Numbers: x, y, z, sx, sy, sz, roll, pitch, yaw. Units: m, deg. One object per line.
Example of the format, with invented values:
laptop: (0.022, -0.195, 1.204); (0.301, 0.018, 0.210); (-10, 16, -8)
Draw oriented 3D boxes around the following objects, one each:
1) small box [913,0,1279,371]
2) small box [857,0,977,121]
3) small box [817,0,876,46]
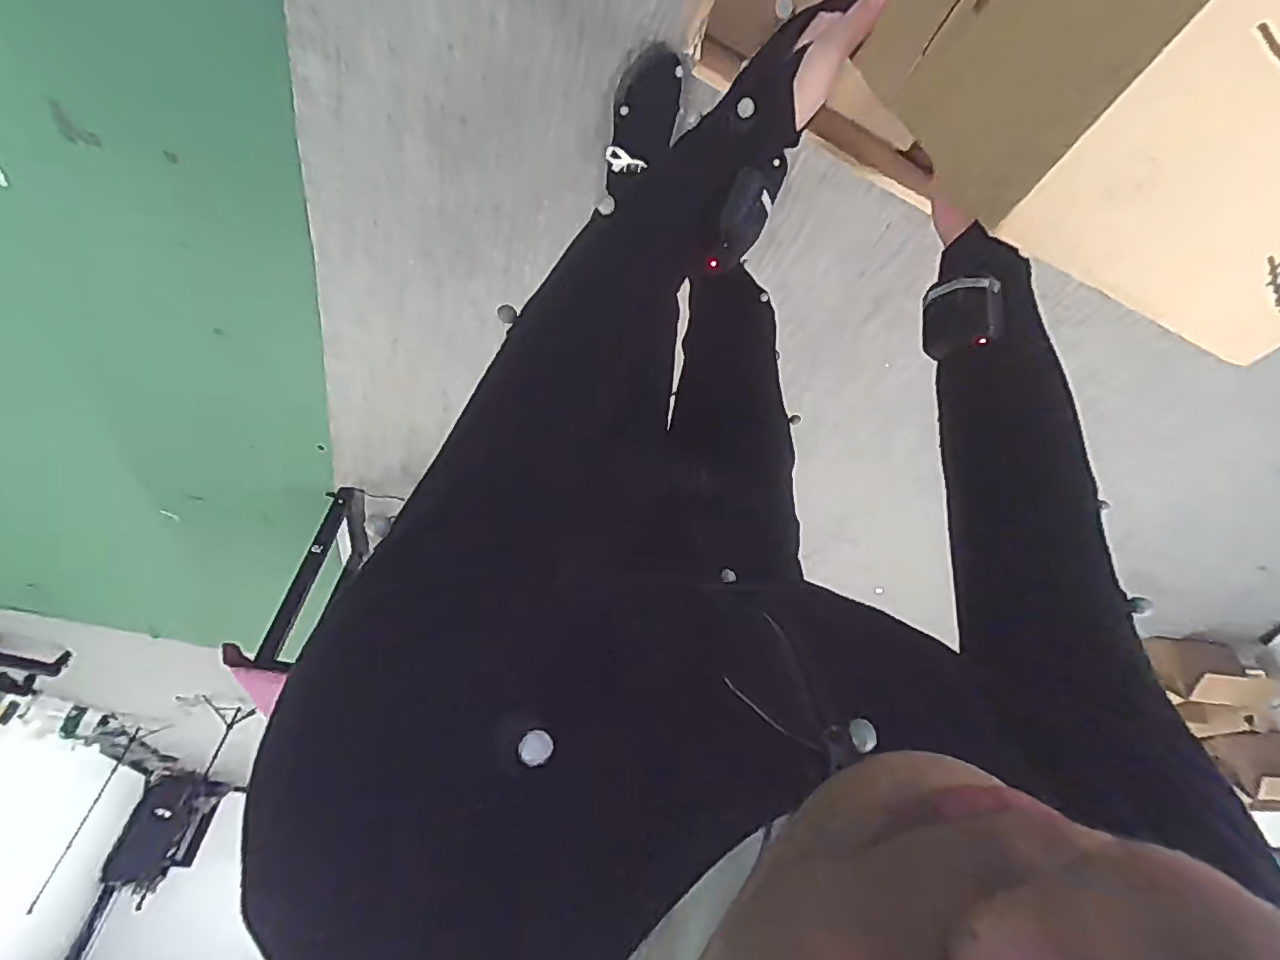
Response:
small box: (0.268, -0.187, 0.248); (0.179, 0.176, 0.168); (18, 138, -16)
small box: (0.273, -0.312, 0.355); (0.179, 0.176, 0.168); (19, 139, -16)
small box: (0.278, -0.437, 0.461); (0.179, 0.176, 0.168); (19, 137, -19)
